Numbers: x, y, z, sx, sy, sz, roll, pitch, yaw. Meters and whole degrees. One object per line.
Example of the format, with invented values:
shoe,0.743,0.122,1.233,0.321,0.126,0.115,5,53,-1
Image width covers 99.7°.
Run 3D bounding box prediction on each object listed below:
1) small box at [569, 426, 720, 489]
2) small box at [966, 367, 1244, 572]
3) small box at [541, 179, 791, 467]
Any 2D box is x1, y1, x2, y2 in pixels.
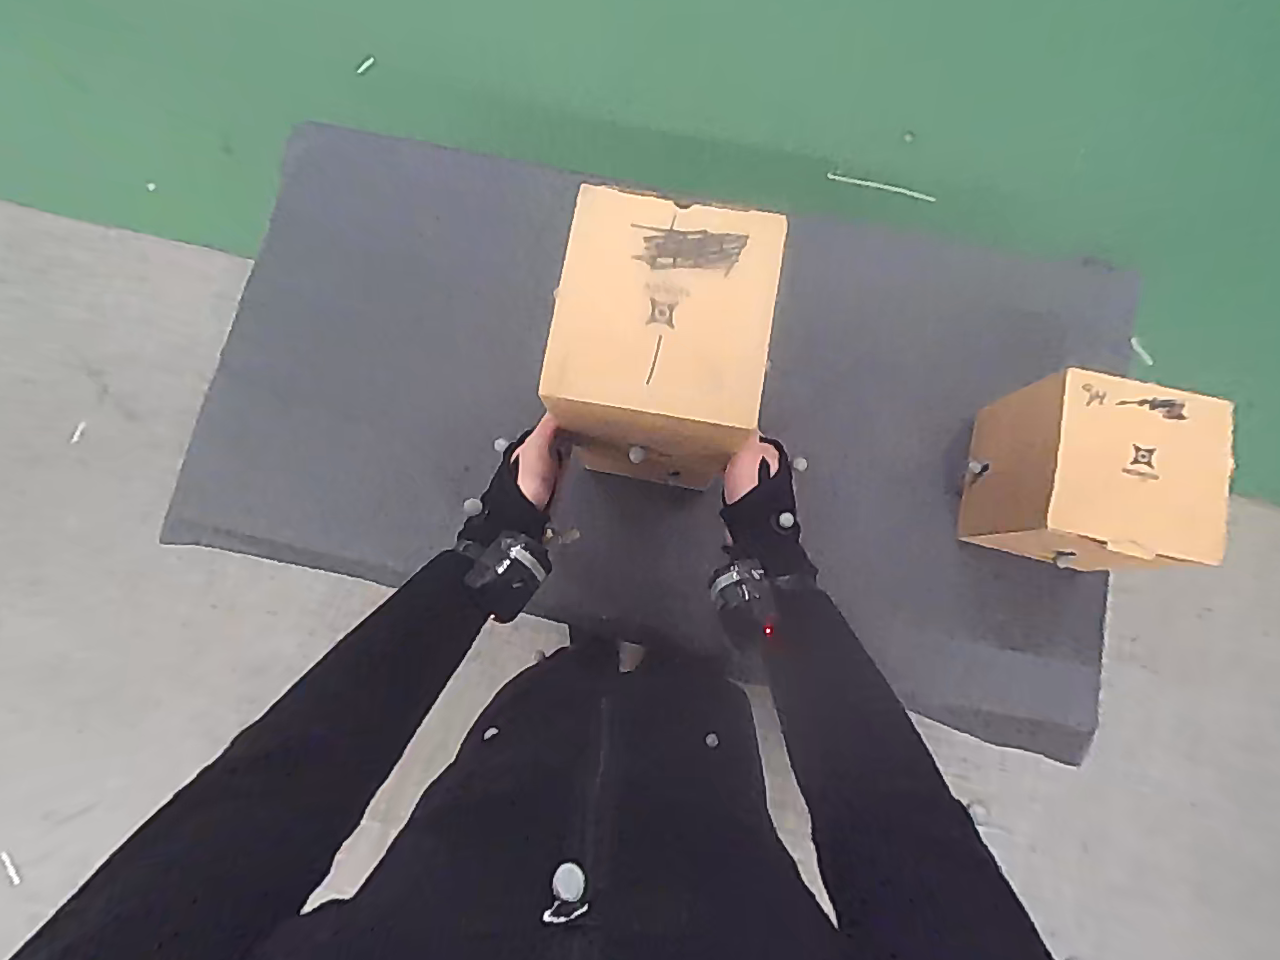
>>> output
small box,0.023,-0.095,0.641,0.168,0.176,0.179,10,79,2
small box,0.500,0.000,0.608,0.168,0.176,0.179,14,81,4
small box,0.022,-0.122,0.478,0.168,0.176,0.179,9,80,3
